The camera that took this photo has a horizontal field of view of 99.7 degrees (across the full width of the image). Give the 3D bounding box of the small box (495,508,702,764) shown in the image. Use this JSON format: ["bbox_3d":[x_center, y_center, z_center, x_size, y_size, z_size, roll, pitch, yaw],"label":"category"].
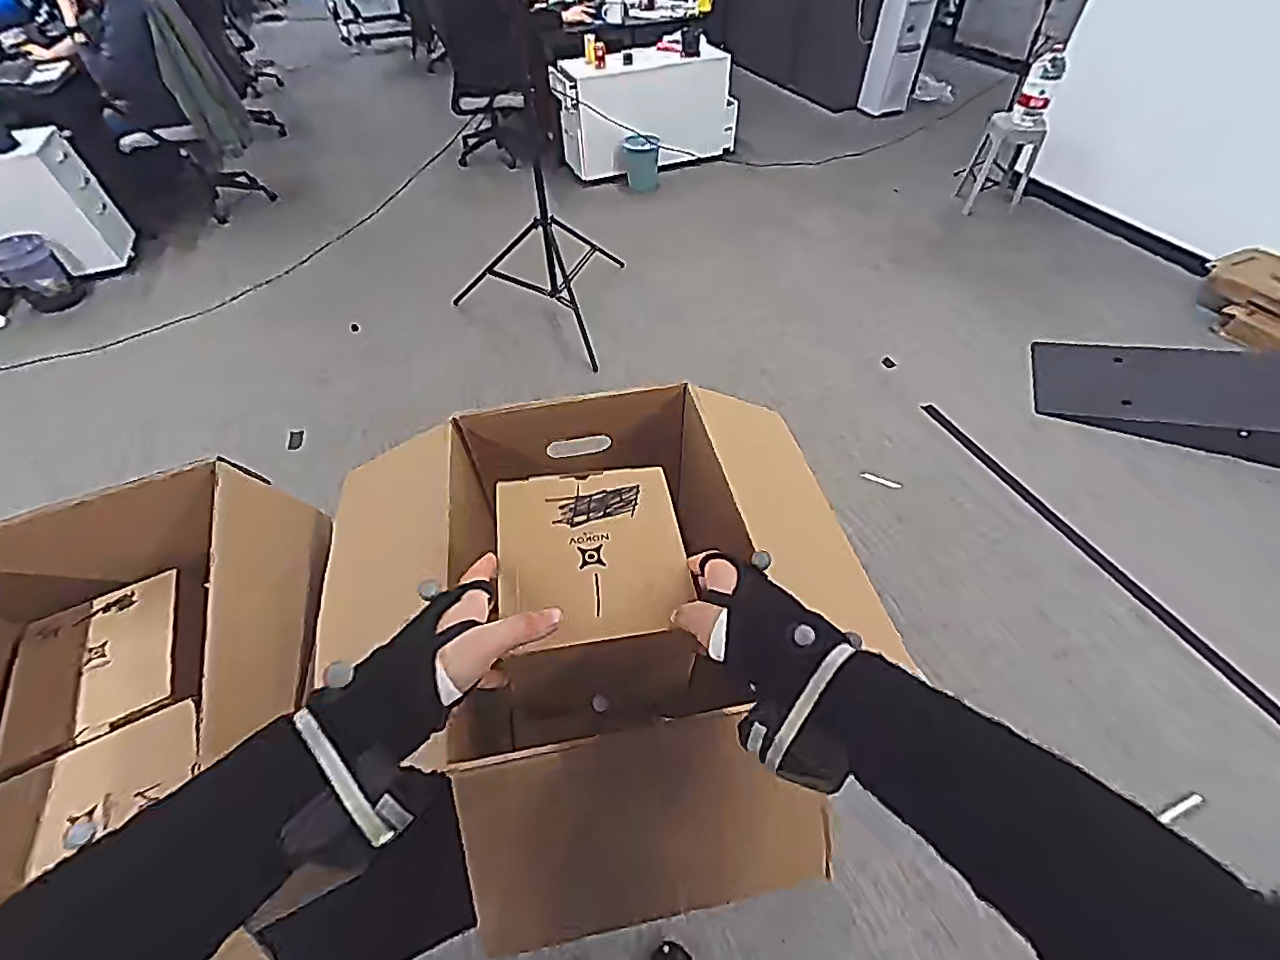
[{"bbox_3d":[-0.047,0.153,0.534,0.168,0.176,0.179,-7,50,-8],"label":"small box"}]
